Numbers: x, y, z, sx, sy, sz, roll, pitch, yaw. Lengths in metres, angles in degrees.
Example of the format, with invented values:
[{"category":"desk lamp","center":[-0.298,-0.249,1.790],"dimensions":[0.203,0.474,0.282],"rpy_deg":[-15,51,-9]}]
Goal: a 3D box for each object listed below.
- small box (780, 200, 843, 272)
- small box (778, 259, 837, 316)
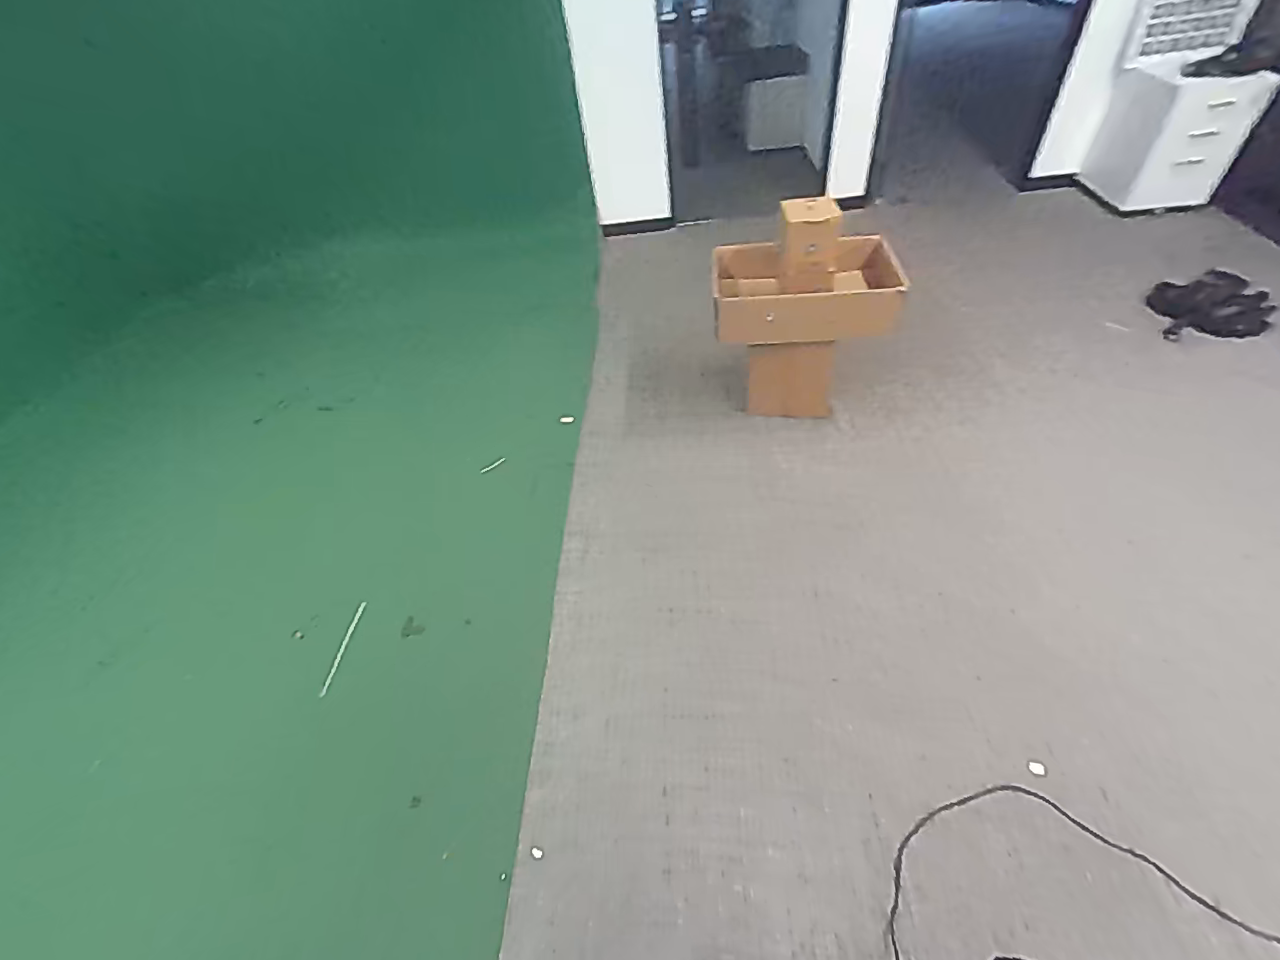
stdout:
[{"category":"small box","center":[0.566,-0.808,1.806],"dimensions":[0.168,0.176,0.179],"rpy_deg":[-2,47,6]},{"category":"small box","center":[0.589,-0.694,1.921],"dimensions":[0.168,0.176,0.179],"rpy_deg":[-2,45,6]}]
